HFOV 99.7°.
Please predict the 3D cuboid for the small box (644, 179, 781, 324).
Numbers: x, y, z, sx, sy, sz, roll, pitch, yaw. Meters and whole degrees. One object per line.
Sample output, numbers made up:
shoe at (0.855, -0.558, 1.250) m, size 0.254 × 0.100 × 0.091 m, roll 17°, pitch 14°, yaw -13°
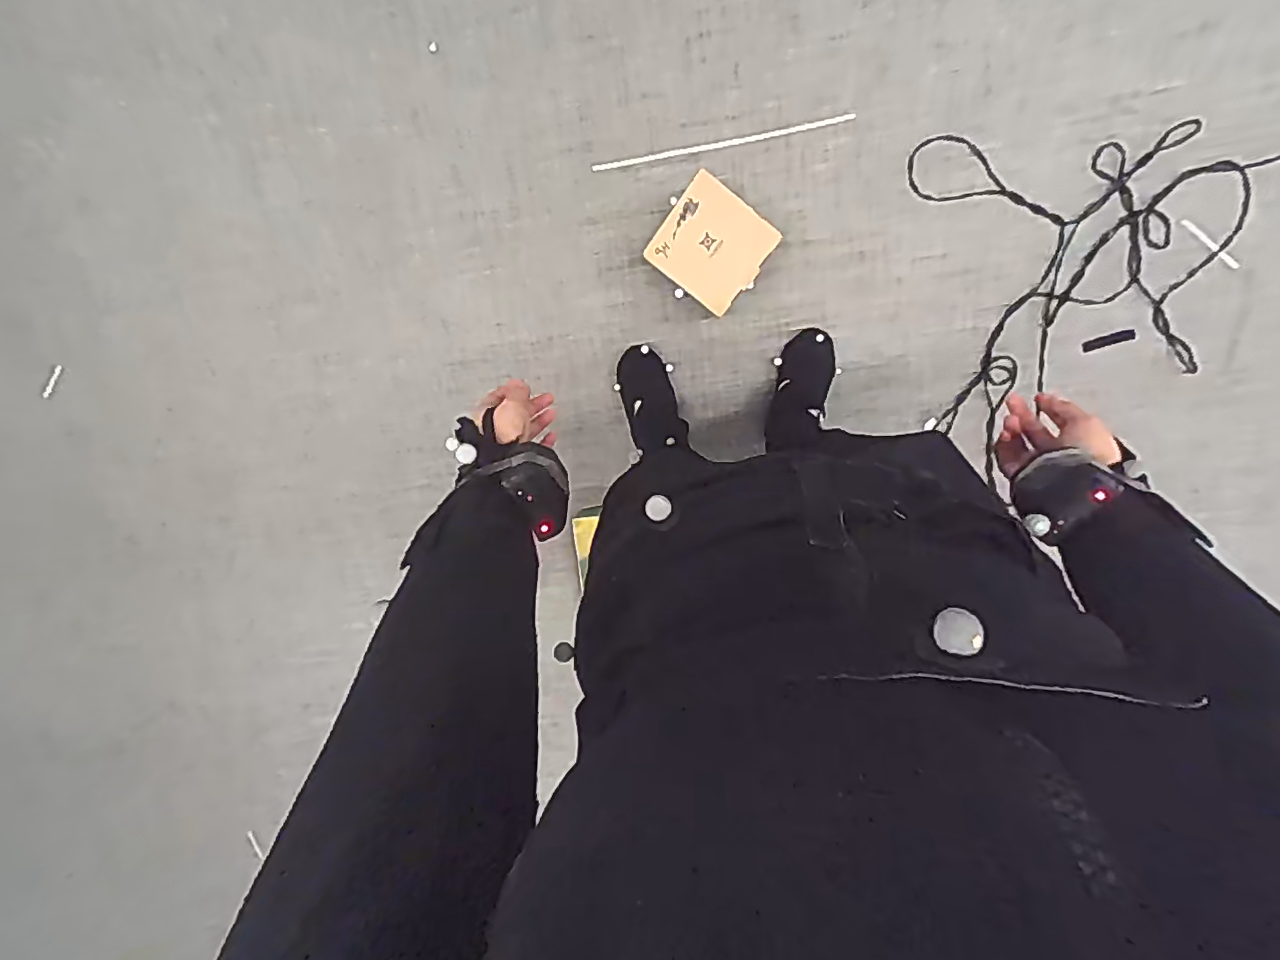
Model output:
small box at (0.129, -0.410, 0.993) m, size 0.179 × 0.176 × 0.168 m, roll 37°, pitch 107°, yaw -7°
